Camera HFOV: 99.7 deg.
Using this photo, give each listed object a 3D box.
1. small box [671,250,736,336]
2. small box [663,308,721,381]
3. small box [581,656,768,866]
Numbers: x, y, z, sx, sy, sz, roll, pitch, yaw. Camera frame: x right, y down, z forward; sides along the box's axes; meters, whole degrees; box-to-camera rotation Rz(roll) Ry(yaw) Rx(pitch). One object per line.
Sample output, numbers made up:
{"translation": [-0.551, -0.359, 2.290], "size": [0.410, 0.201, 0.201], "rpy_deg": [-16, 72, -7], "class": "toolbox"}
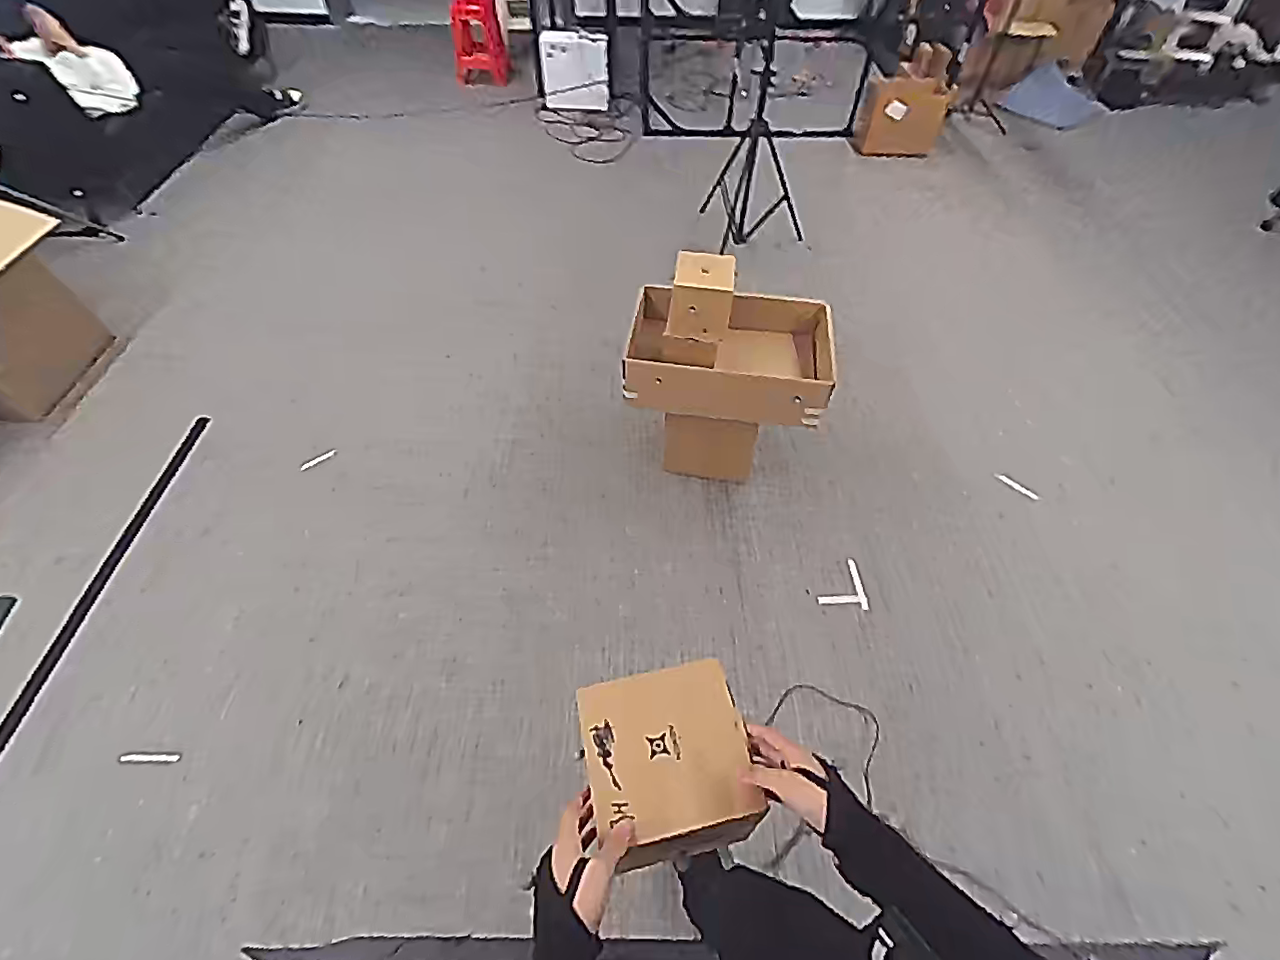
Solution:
{"translation": [0.182, -0.539, 1.567], "size": [0.168, 0.176, 0.179], "rpy_deg": [7, 53, 3], "class": "small box"}
{"translation": [0.167, -0.434, 1.692], "size": [0.168, 0.176, 0.179], "rpy_deg": [10, 53, 6], "class": "small box"}
{"translation": [0.030, 0.334, 0.643], "size": [0.179, 0.176, 0.168], "rpy_deg": [-9, 48, -8], "class": "small box"}
